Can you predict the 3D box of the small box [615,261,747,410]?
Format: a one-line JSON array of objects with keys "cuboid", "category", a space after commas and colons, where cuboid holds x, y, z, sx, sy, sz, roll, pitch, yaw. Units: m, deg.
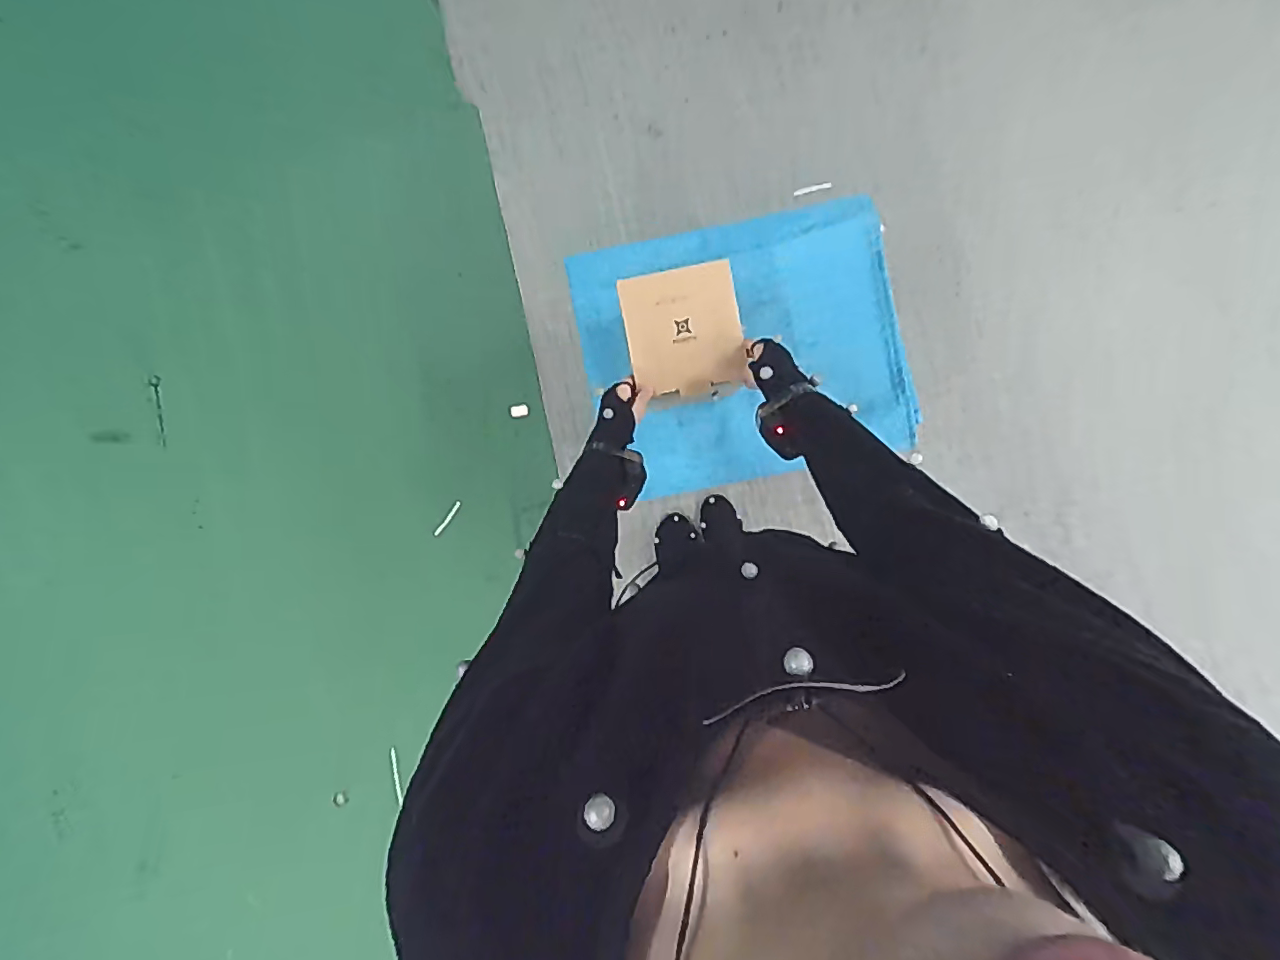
[{"cuboid": [0.061, -0.210, 0.839, 0.168, 0.176, 0.179, -10, 89, 1], "category": "small box"}]
